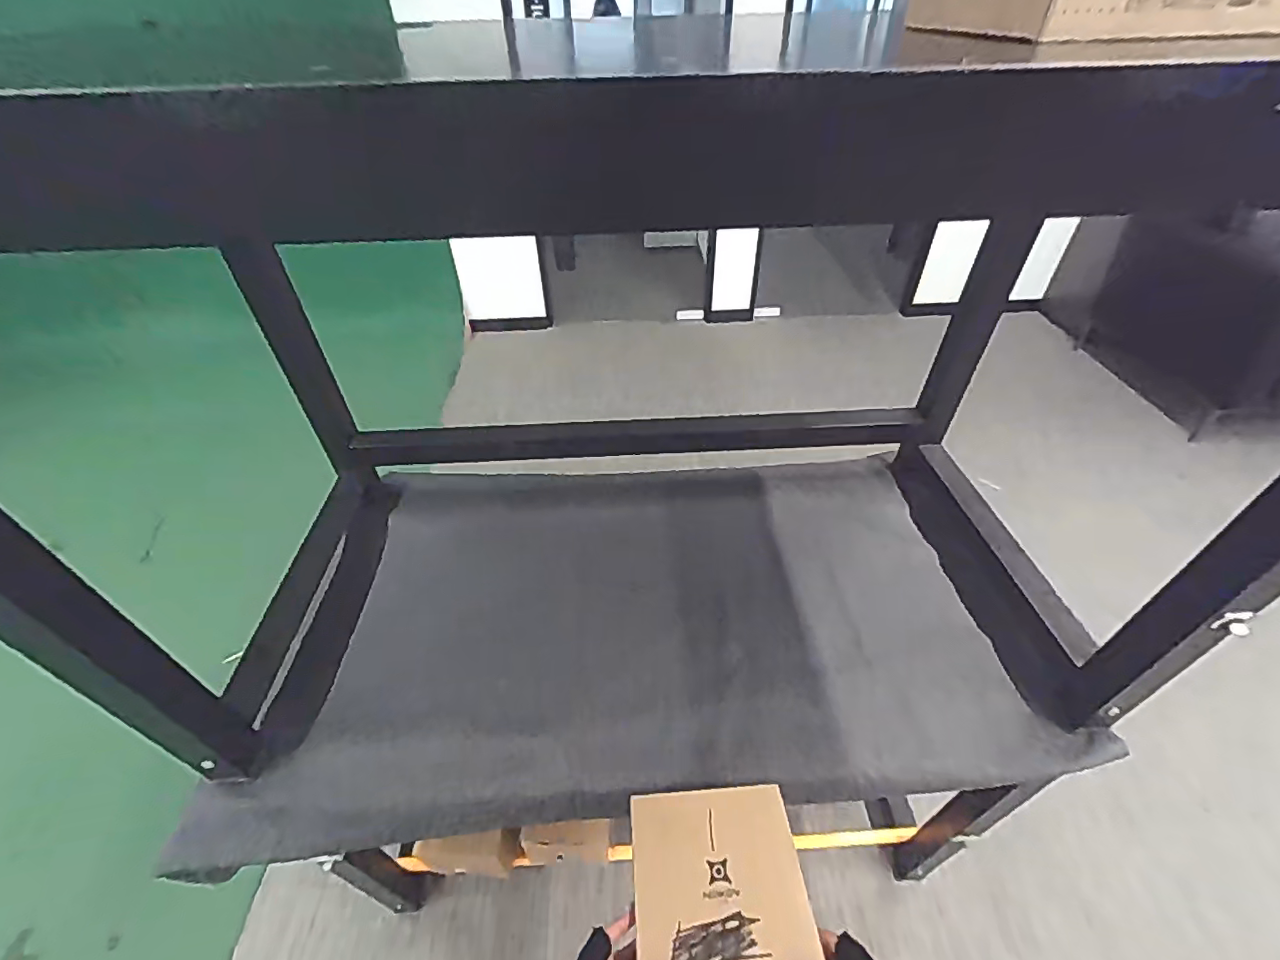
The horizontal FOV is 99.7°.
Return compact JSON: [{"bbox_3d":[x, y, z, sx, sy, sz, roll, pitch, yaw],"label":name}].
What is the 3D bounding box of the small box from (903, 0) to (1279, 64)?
[{"bbox_3d":[0.285,-0.356,0.316,0.168,0.176,0.179,-3,42,-2],"label":"small box"}]
